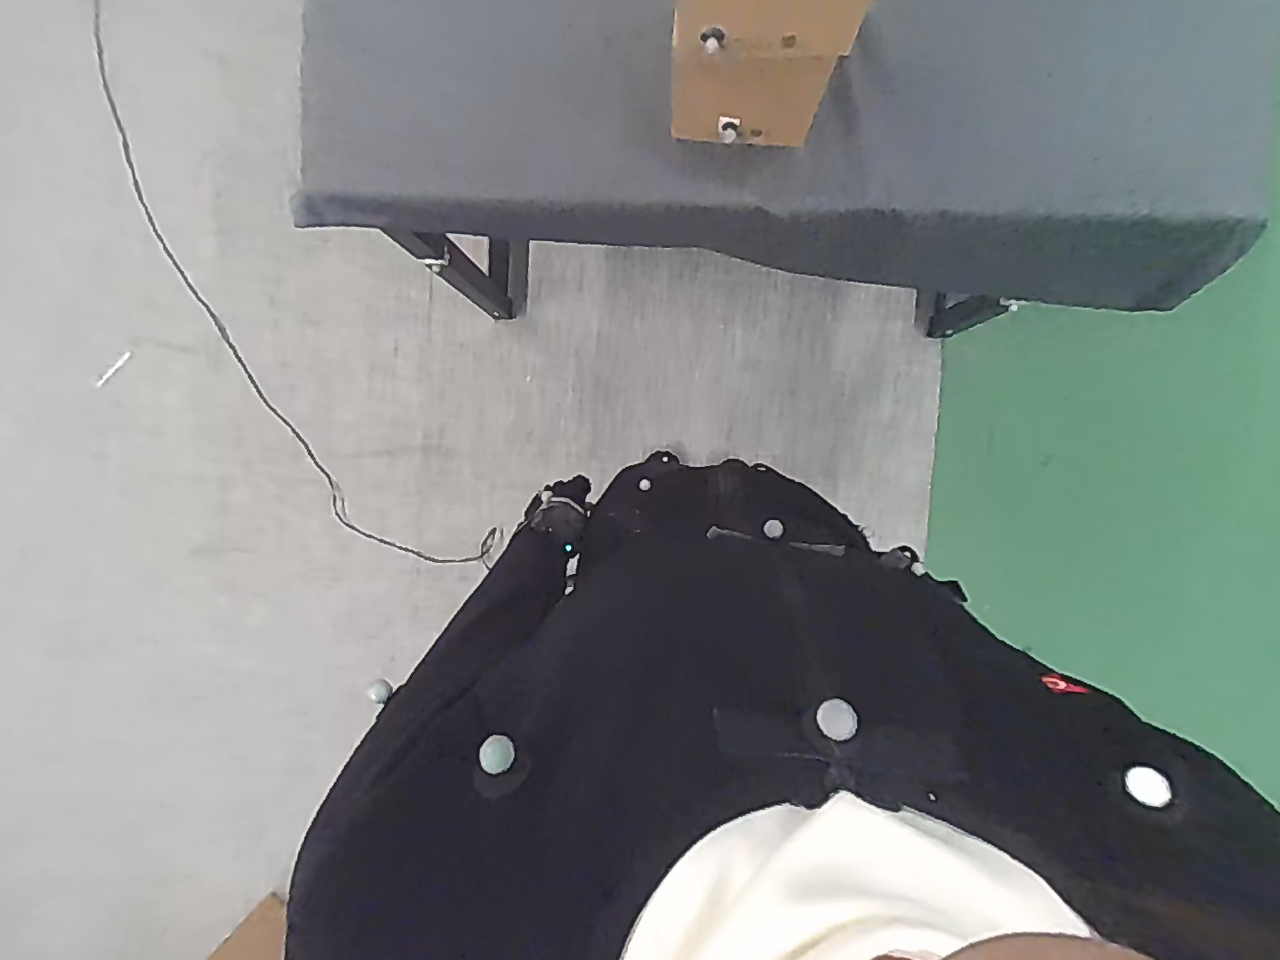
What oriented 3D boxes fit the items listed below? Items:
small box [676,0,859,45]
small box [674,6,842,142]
[{"bbox_3d":[0.110,-0.499,0.441,0.168,0.176,0.179,-2,93,5],"label":"small box"},{"bbox_3d":[0.126,-0.518,0.604,0.168,0.176,0.179,4,94,4],"label":"small box"}]
